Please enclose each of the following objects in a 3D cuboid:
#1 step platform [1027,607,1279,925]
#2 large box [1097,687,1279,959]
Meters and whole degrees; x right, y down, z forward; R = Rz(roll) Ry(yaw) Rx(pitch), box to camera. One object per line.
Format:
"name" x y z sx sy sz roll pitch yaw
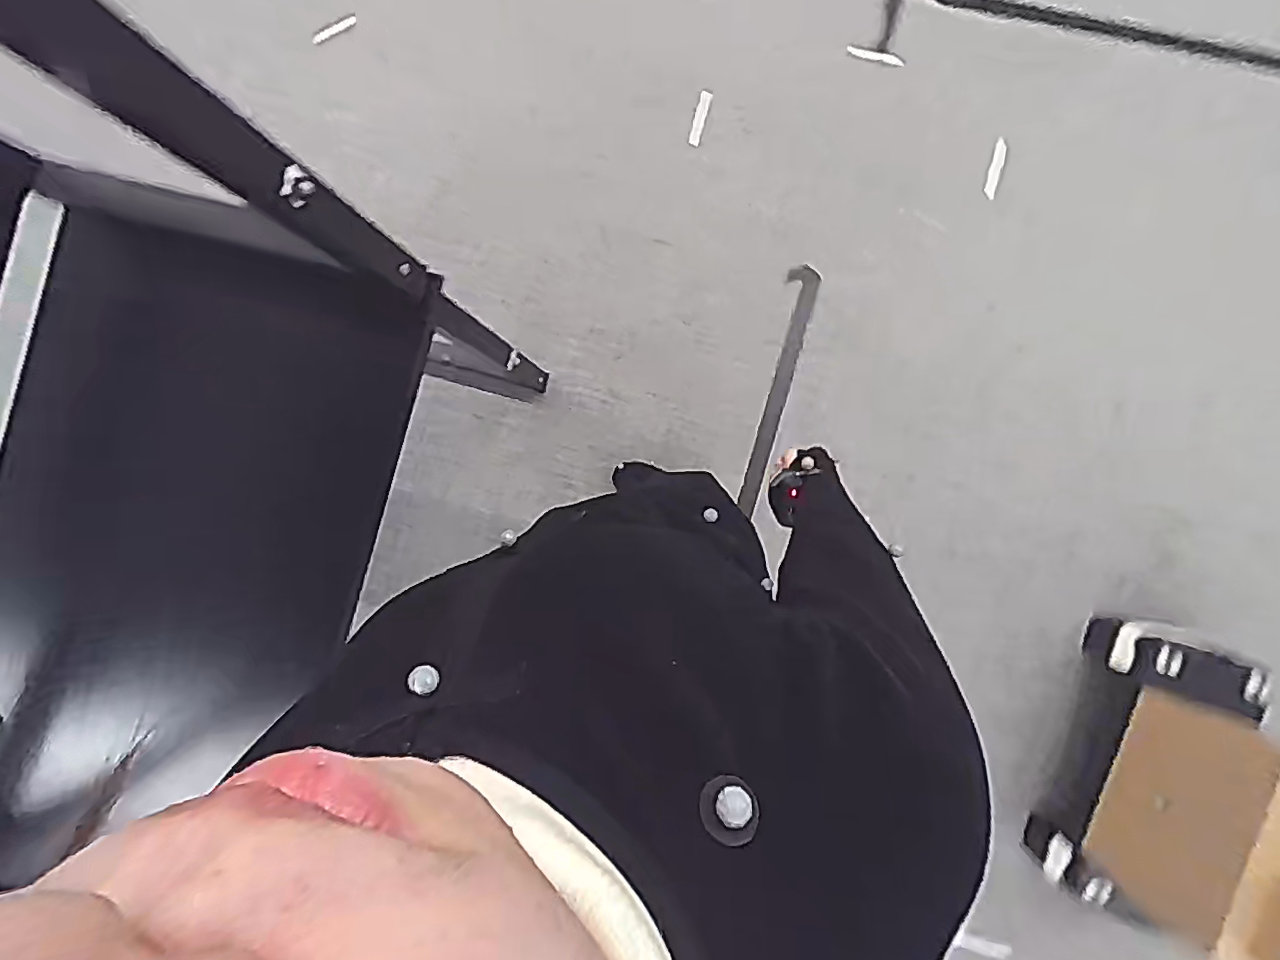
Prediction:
"step platform" 1.244 0.672 1.305 0.286 0.204 0.684 21 90 4
"large box" 1.223 0.697 1.068 0.320 0.320 0.408 19 90 3
